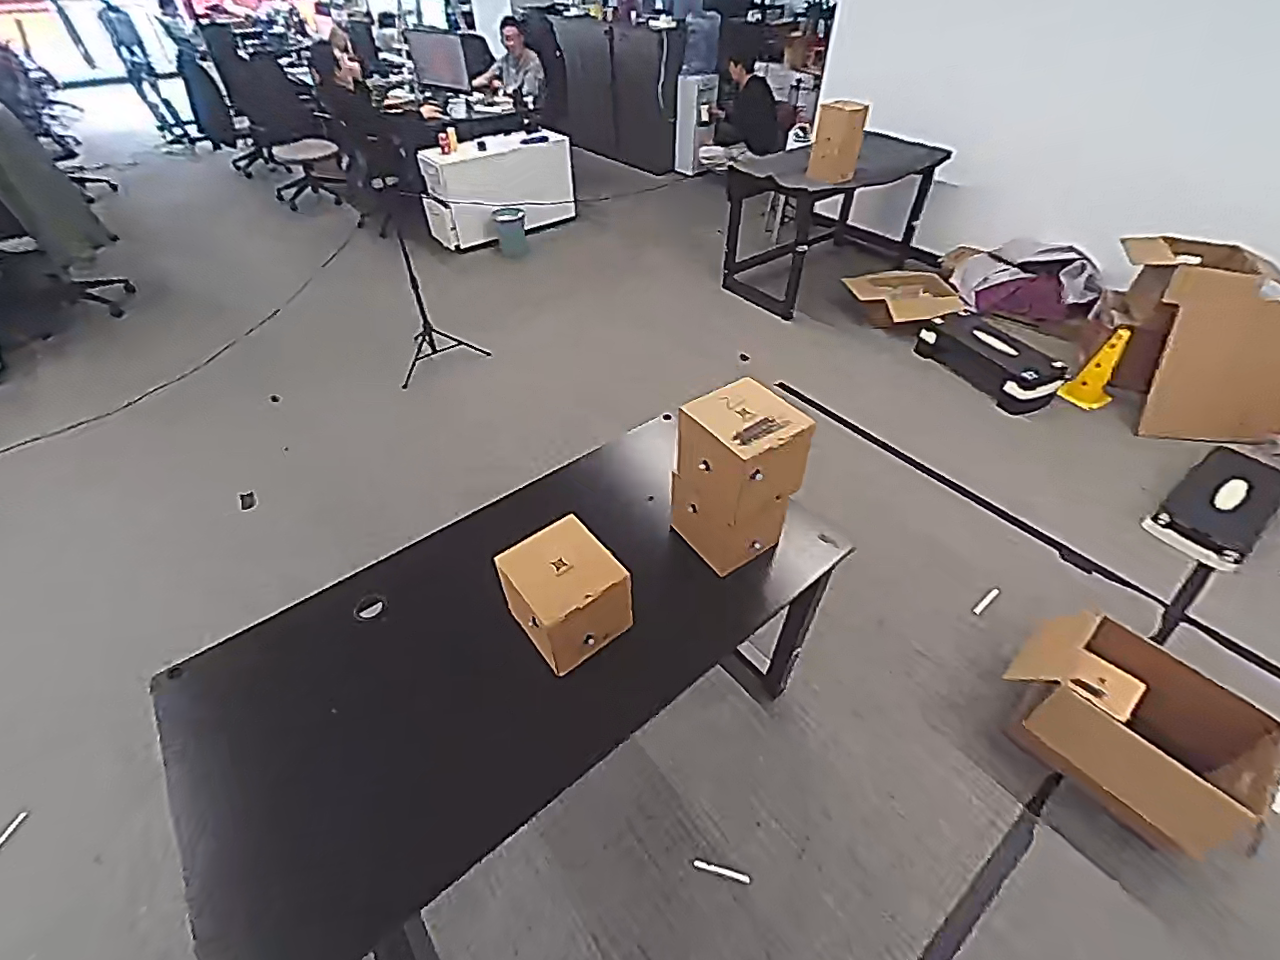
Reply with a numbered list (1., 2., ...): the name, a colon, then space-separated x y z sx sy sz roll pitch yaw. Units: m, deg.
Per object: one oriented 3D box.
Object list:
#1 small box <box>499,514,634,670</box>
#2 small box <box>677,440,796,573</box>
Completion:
1. small box: -0.127 0.200 0.967 0.168 0.176 0.179 -30 52 -26
2. small box: 0.186 0.054 1.105 0.168 0.176 0.179 -26 50 -22
